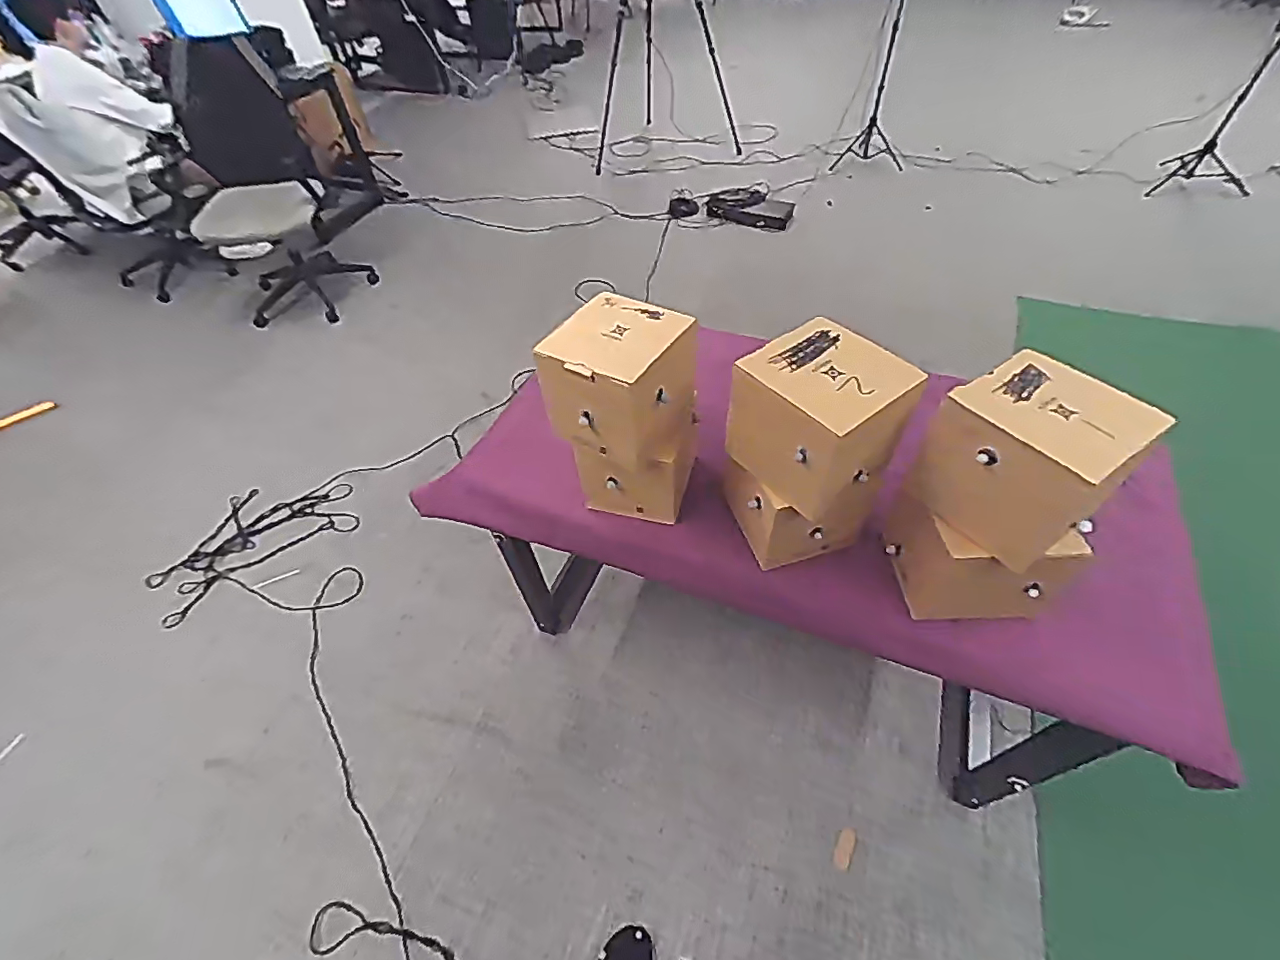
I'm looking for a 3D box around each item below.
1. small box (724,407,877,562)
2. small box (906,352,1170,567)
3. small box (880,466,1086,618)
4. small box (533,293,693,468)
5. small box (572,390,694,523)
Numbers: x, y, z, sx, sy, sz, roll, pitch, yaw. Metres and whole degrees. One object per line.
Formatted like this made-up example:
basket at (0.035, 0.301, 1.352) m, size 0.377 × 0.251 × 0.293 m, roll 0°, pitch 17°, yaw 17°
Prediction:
small box at (0.245, 0.014, 0.872) m, size 0.168 × 0.176 × 0.179 m, roll -14°, pitch 50°, yaw -8°
small box at (0.475, -0.025, 0.678) m, size 0.168 × 0.176 × 0.179 m, roll -27°, pitch 53°, yaw -20°
small box at (0.481, 0.091, 0.792) m, size 0.179 × 0.176 × 0.168 m, roll -2°, pitch 48°, yaw 3°
small box at (-0.030, -0.148, 0.815) m, size 0.168 × 0.176 × 0.179 m, roll 24°, pitch 55°, yaw 22°
small box at (-0.002, -0.048, 0.944) m, size 0.168 × 0.176 × 0.179 m, roll 10°, pitch 50°, yaw 12°
